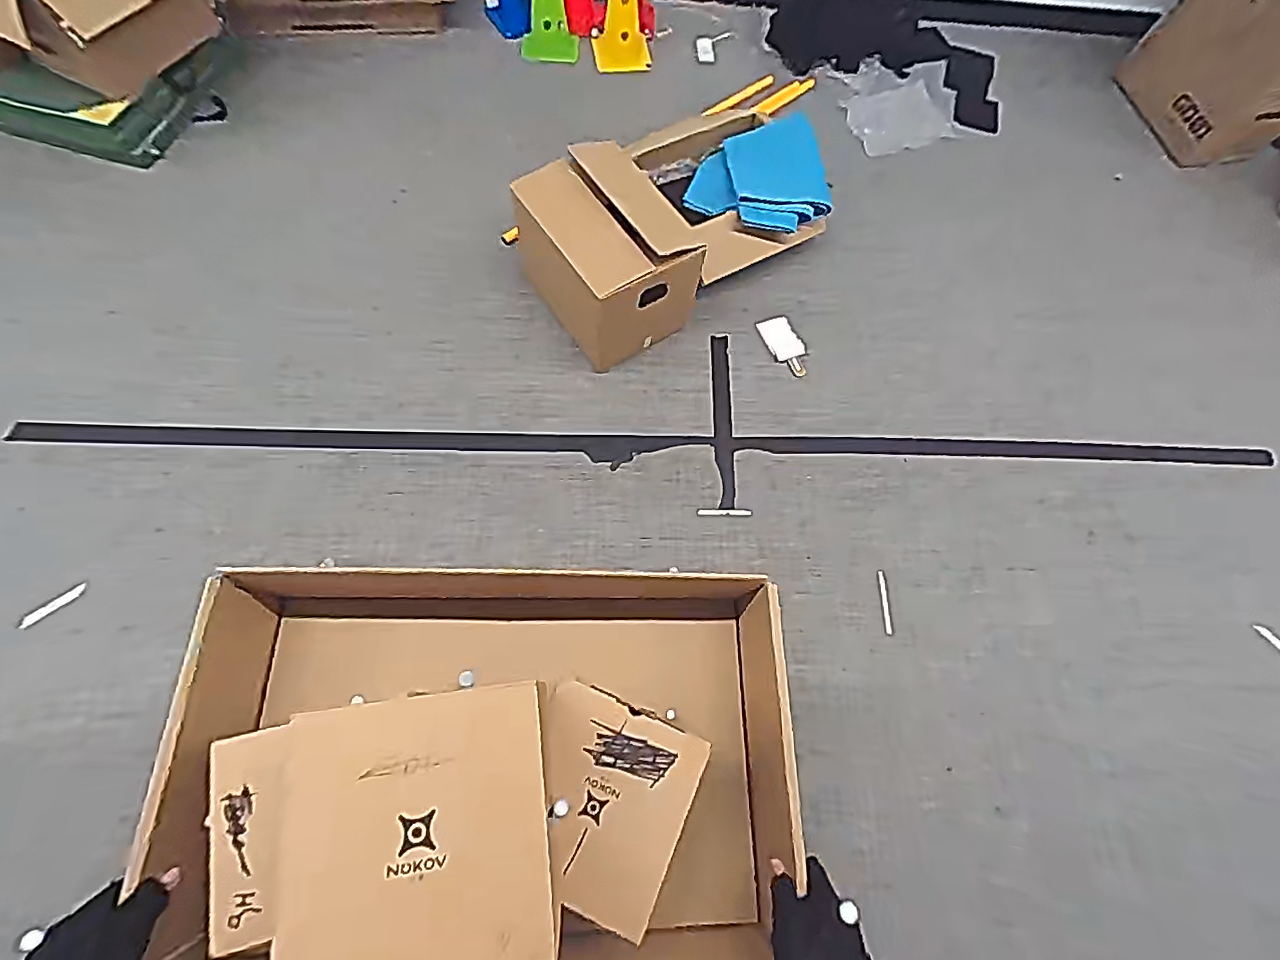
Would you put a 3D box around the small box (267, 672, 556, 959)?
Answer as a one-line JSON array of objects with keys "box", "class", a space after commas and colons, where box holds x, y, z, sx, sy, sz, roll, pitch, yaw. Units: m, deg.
[{"box": [-0.155, 0.253, 0.422, 0.168, 0.176, 0.179, -5, 68, -10], "class": "small box"}]
